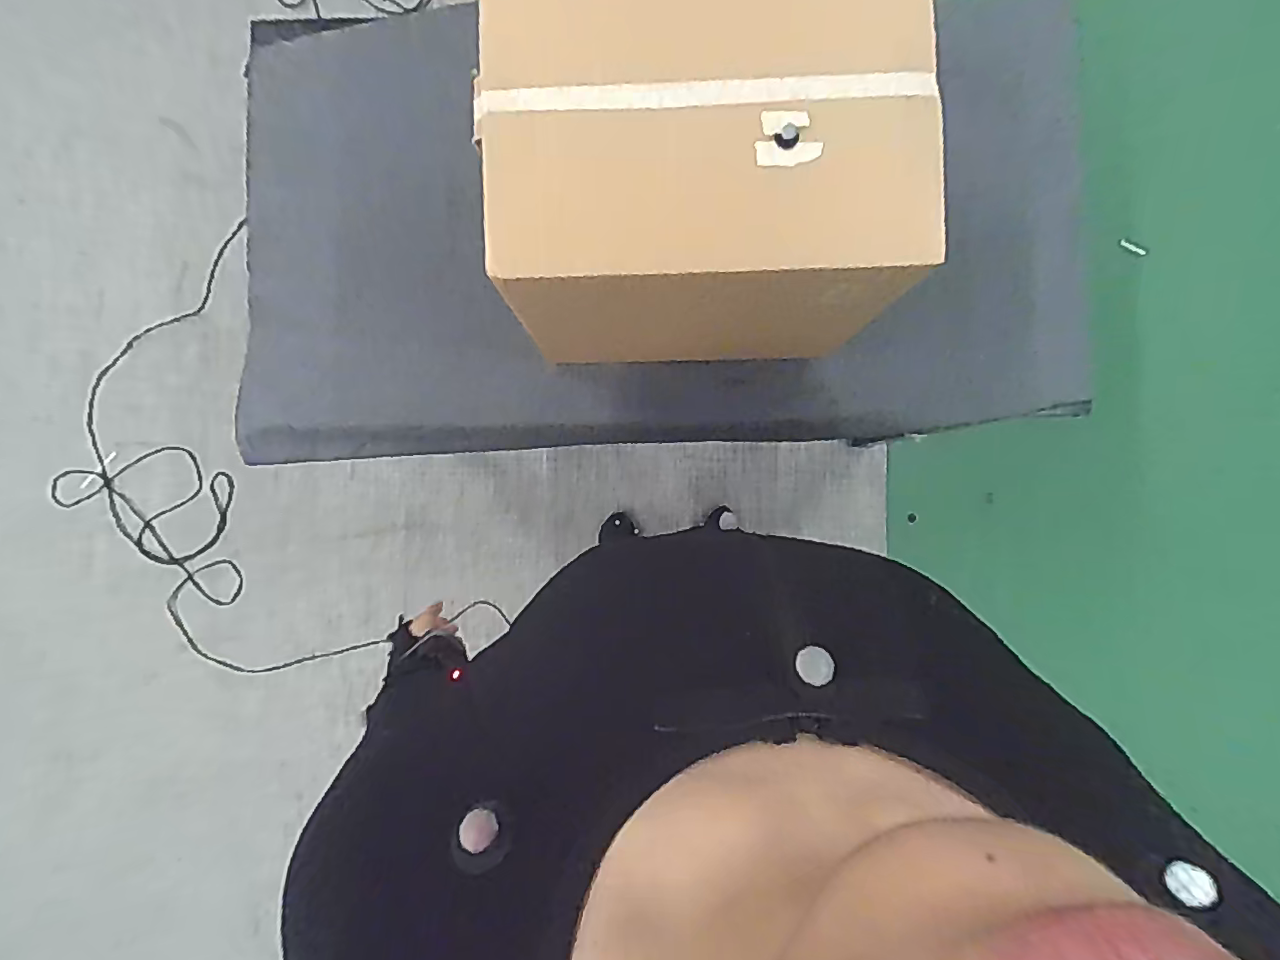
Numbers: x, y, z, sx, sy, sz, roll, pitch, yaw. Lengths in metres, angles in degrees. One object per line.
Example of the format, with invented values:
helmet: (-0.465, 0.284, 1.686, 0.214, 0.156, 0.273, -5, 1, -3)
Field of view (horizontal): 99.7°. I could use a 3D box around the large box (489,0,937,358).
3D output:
large box: (0.063, -0.343, 0.641, 0.408, 0.320, 0.320, -2, 89, 1)
